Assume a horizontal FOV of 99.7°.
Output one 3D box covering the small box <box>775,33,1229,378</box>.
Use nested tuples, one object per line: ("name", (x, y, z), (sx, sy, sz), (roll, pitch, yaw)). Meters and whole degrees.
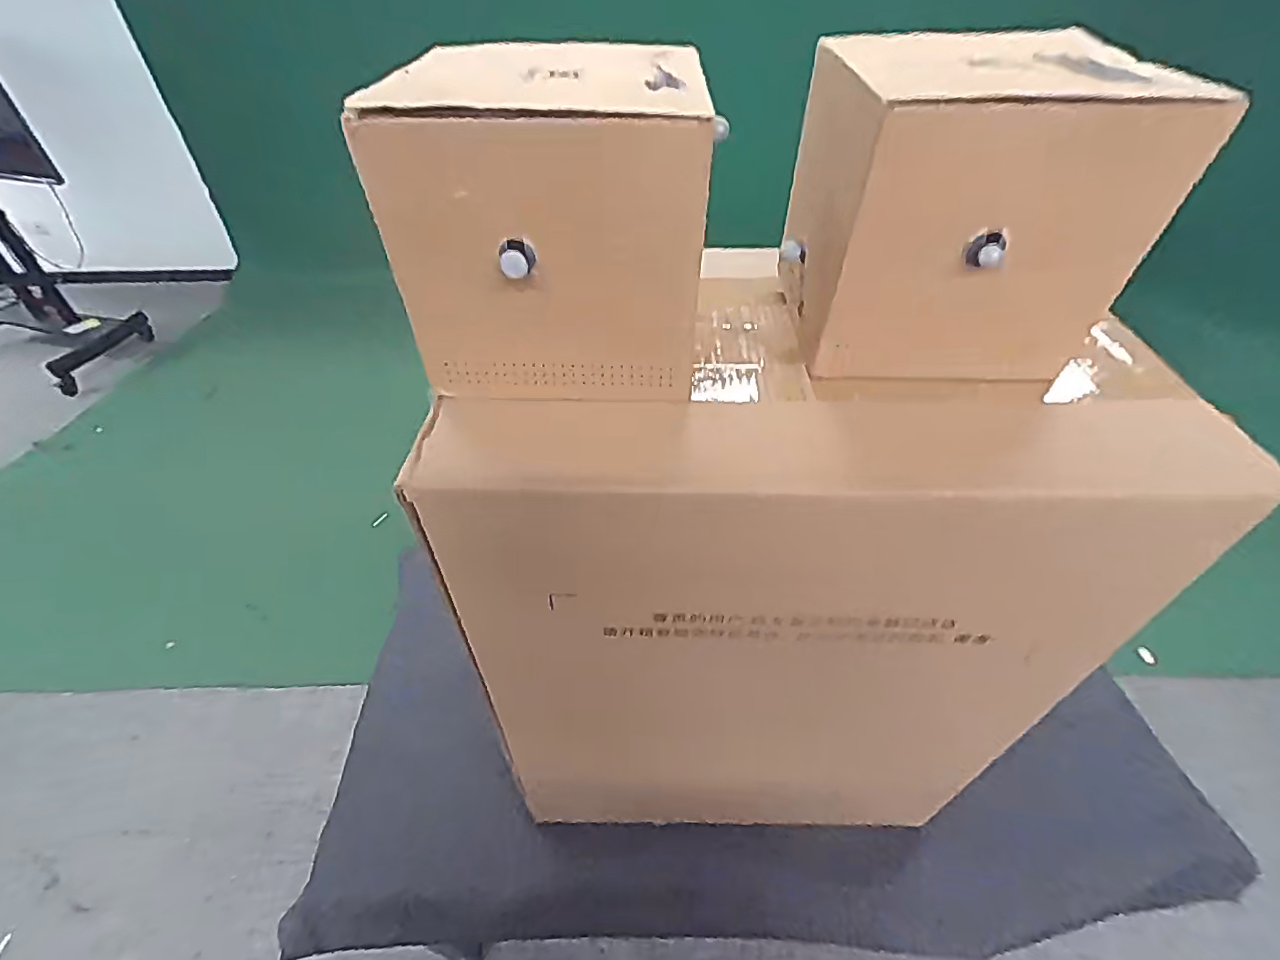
("small box", (0.203, -0.184, 0.374), (0.179, 0.176, 0.168), (0, 48, 2))

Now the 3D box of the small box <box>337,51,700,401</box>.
("small box", (-0.054, -0.166, 0.364), (0.179, 0.176, 0.168), (0, 47, 1))
